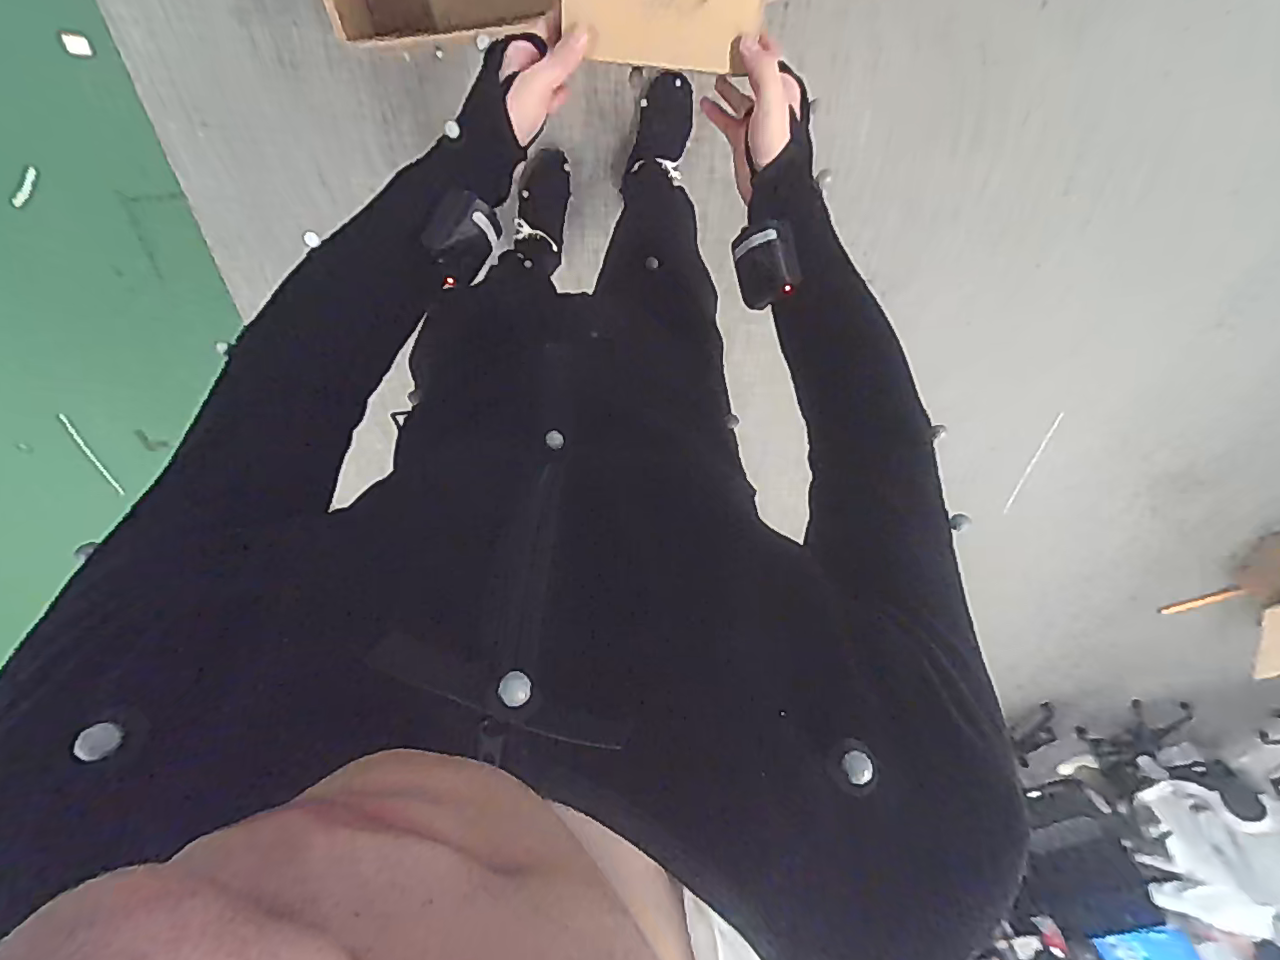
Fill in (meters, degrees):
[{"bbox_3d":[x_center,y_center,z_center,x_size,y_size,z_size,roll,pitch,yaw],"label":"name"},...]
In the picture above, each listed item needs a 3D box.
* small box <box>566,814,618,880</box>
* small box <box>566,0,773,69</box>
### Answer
[{"bbox_3d":[-0.170,1.330,1.949,0.168,0.176,0.179,-7,131,0],"label":"small box"},{"bbox_3d":[0.028,-0.469,0.460,0.168,0.176,0.179,4,127,-2],"label":"small box"}]
